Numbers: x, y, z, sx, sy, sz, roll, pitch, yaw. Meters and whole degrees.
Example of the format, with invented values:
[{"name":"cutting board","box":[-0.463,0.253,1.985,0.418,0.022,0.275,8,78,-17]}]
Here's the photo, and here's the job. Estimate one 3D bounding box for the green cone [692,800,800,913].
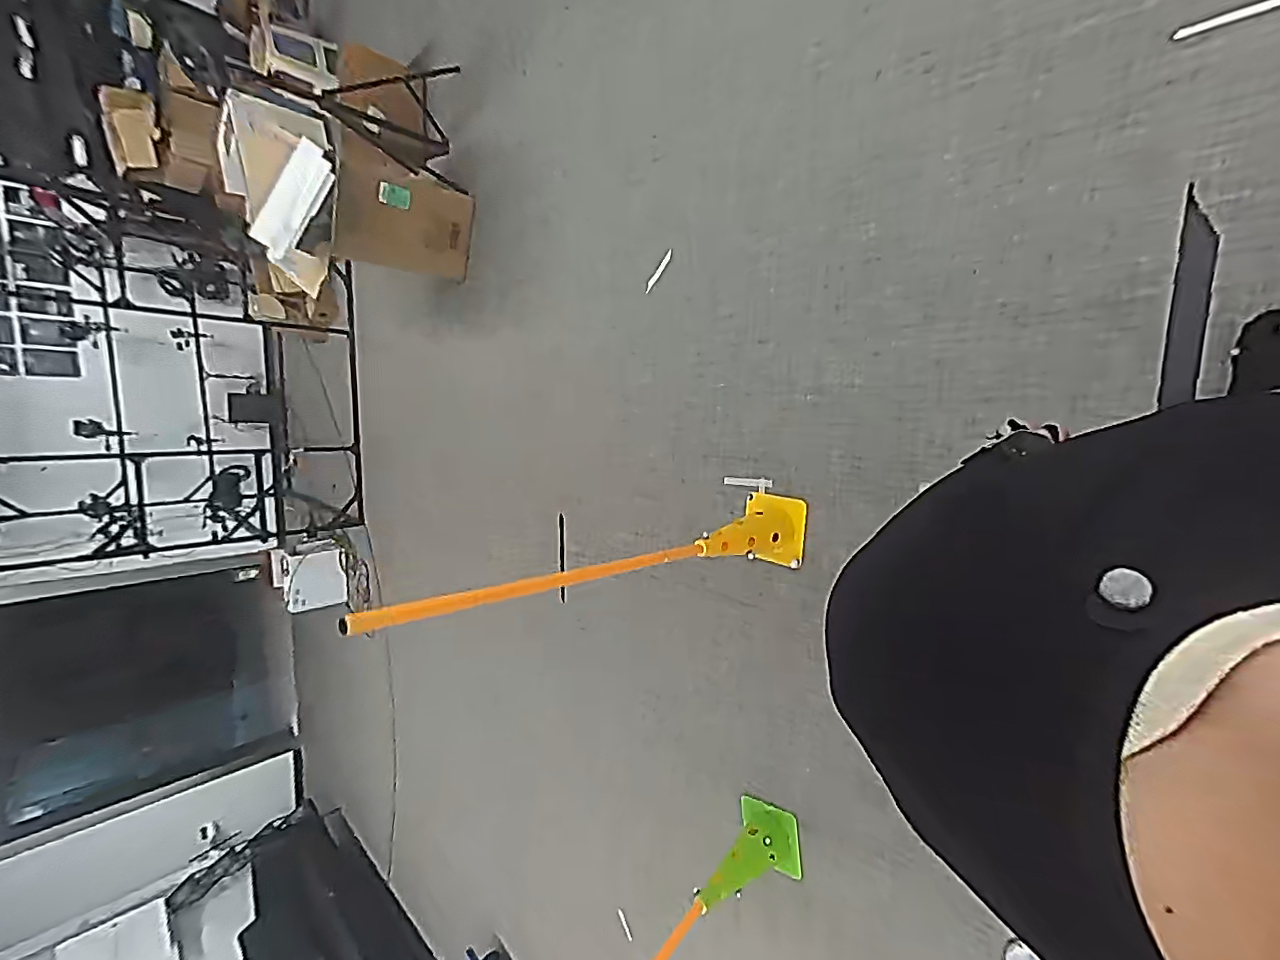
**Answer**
[{"name":"green cone","box":[0.282,1.128,1.558,0.200,0.368,0.202,-7,88,45]}]
